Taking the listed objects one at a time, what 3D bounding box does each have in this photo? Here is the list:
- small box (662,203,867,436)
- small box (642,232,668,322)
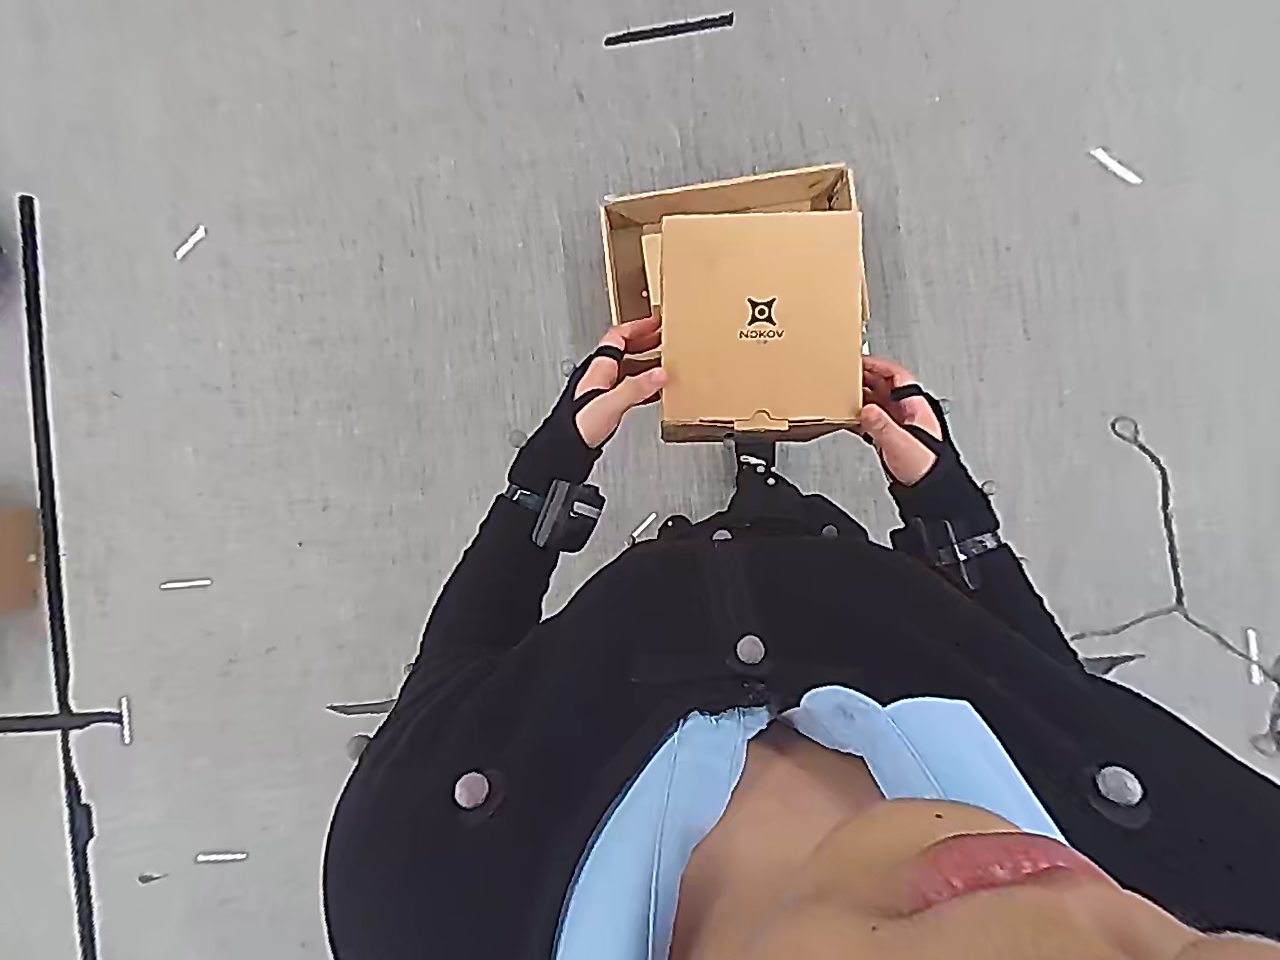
[{"bbox_3d":[0.105,-0.138,0.522,0.168,0.176,0.179,0,90,3],"label":"small box"},{"bbox_3d":[0.101,-0.513,1.376,0.168,0.176,0.179,-8,89,3],"label":"small box"}]
